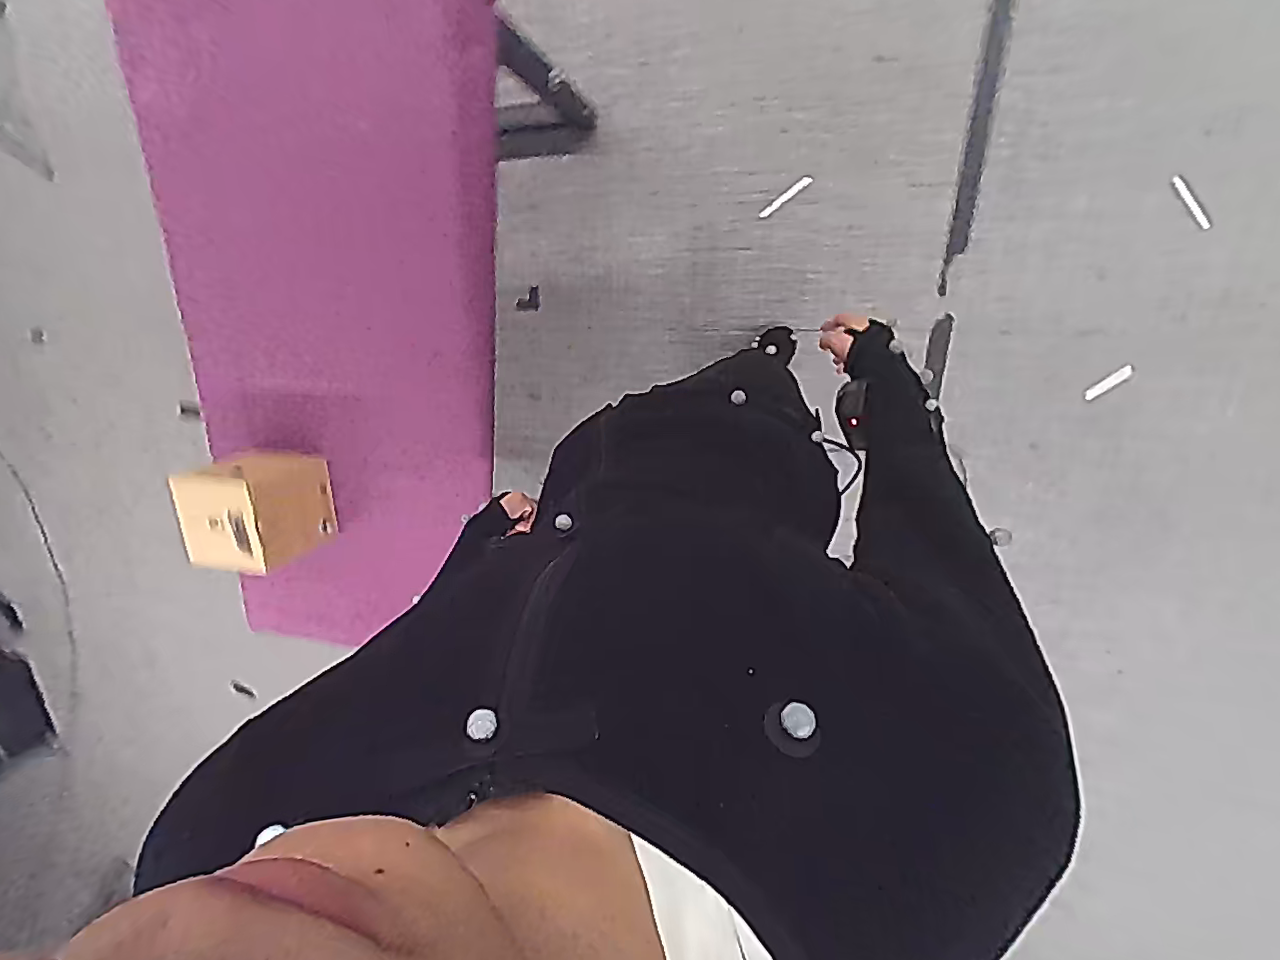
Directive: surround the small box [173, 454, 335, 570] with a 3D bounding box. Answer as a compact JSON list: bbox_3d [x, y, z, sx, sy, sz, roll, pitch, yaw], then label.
[{"bbox_3d":[-0.704,0.051,1.012,0.179,0.176,0.168,4,108,14],"label":"small box"}]
